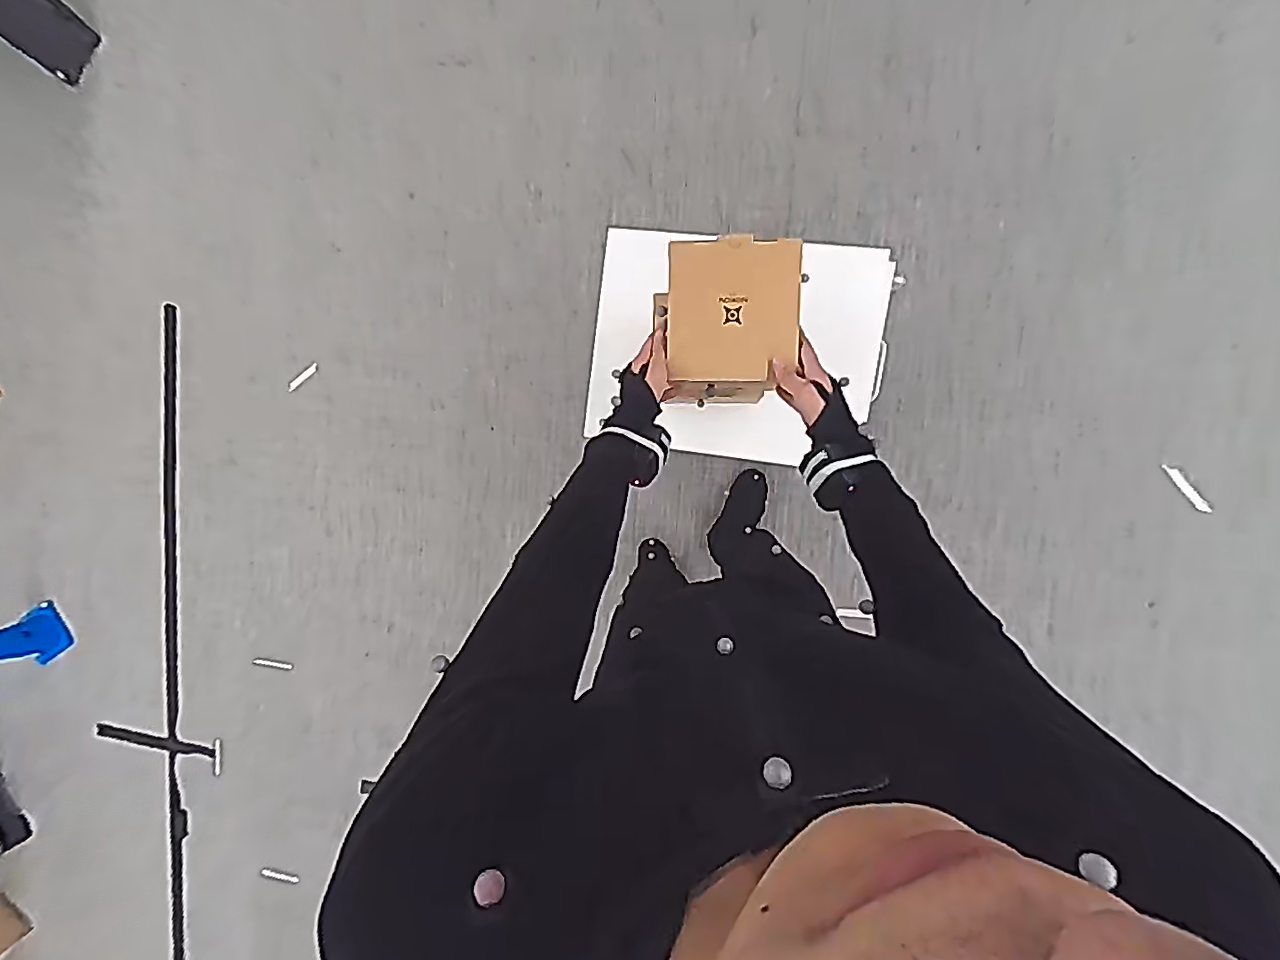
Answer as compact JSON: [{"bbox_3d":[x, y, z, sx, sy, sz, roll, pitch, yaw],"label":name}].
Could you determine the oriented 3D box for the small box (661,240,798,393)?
[{"bbox_3d":[0.119,-0.216,0.755,0.168,0.176,0.179,1,94,6],"label":"small box"}]

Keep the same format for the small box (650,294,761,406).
[{"bbox_3d":[0.116,-0.215,0.922,0.179,0.176,0.168,1,95,8],"label":"small box"}]
